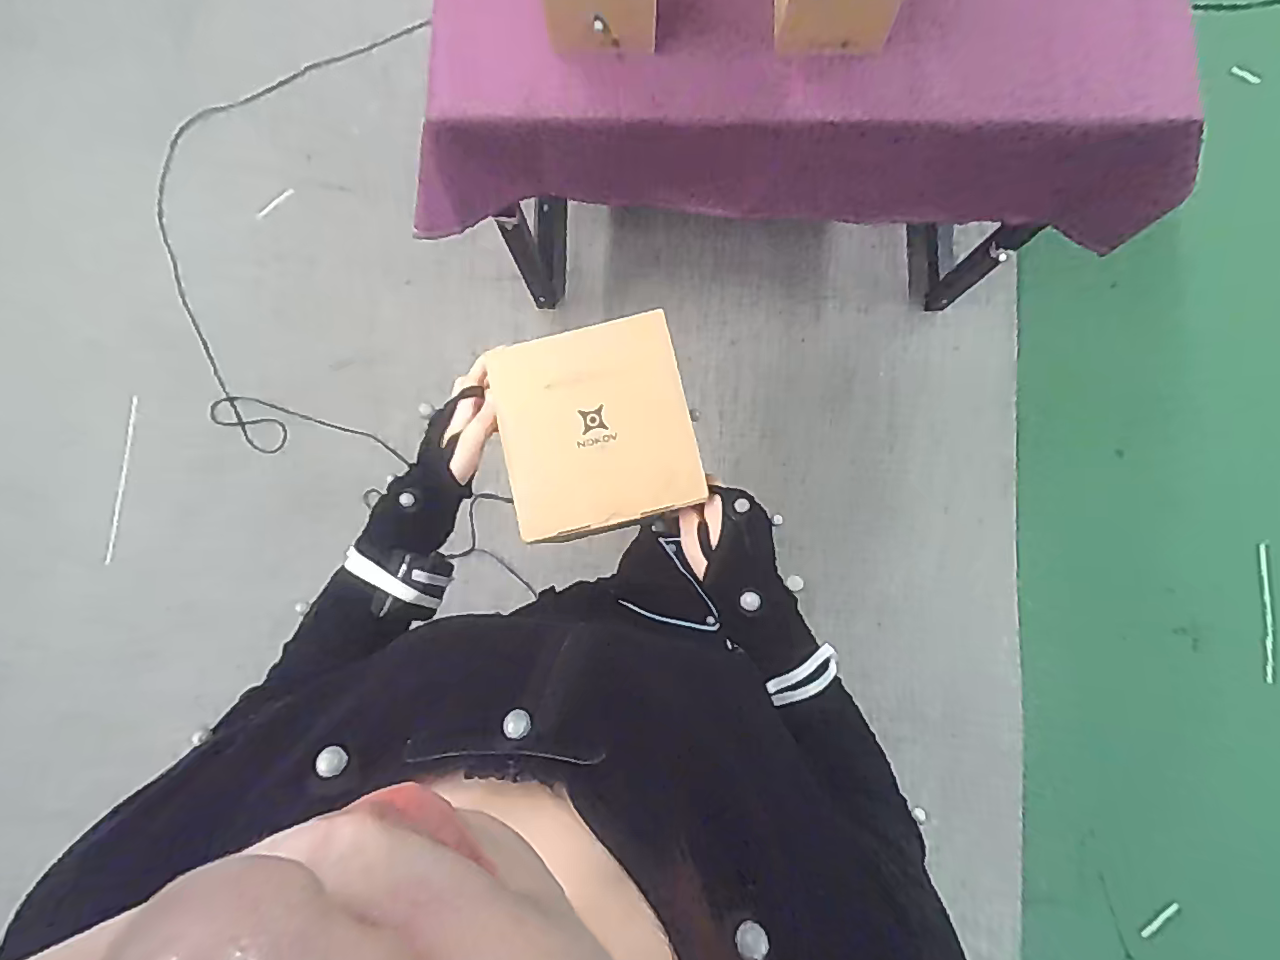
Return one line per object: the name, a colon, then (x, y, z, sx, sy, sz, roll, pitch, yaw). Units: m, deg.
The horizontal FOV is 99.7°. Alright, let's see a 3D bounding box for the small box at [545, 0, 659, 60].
small box: (-0.056, -0.771, 0.794, 0.168, 0.176, 0.179, 2, 83, 2)
